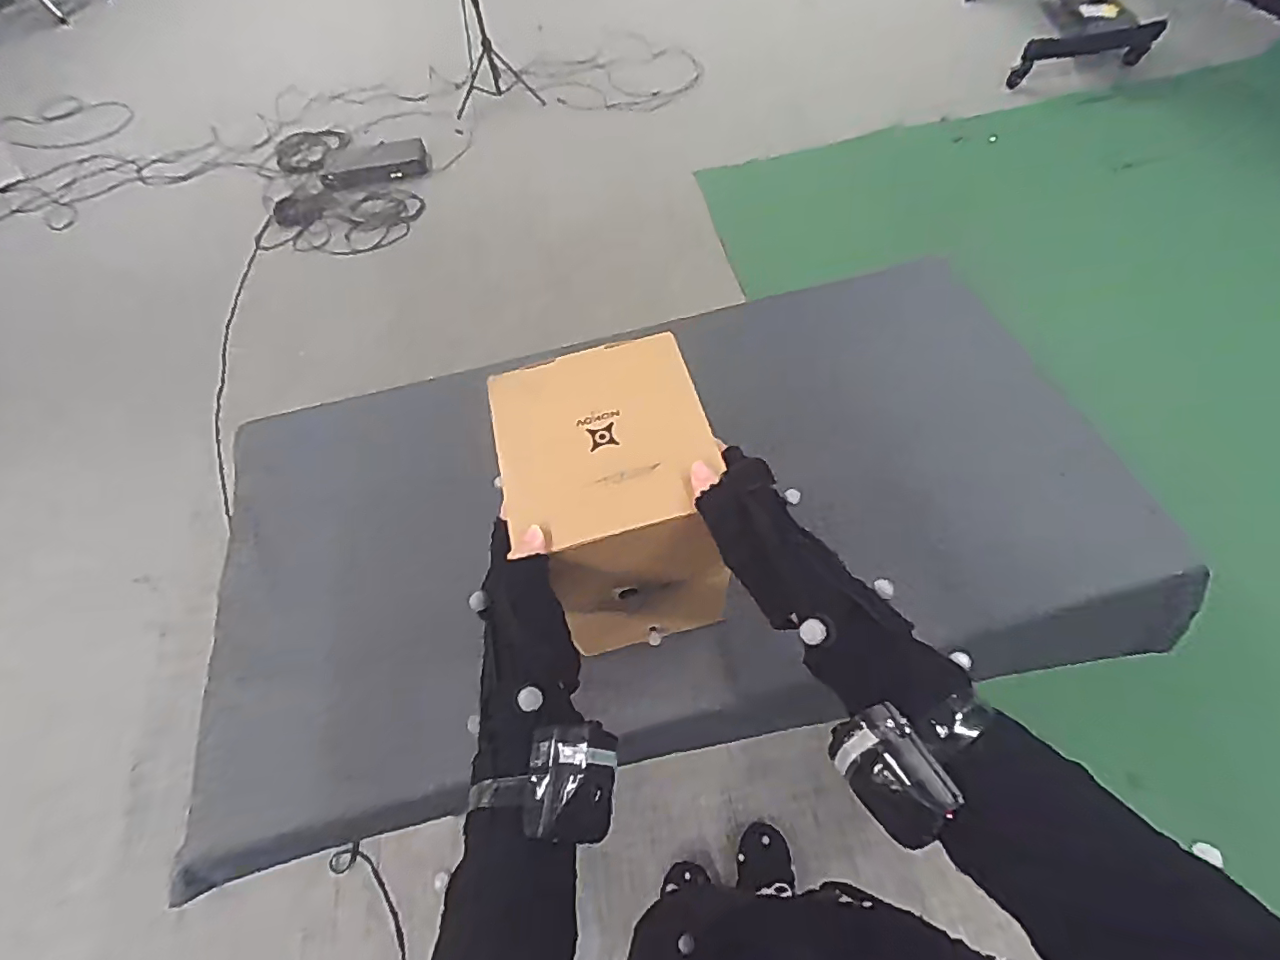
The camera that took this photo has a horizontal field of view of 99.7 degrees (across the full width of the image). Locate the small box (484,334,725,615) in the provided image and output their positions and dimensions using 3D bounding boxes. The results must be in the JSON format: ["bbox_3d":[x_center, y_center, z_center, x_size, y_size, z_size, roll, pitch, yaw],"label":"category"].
[{"bbox_3d":[-0.030,0.002,0.493,0.168,0.176,0.179,-14,61,-2],"label":"small box"}]

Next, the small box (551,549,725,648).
[{"bbox_3d":[-0.013,0.082,0.634,0.179,0.176,0.168,-14,59,-3],"label":"small box"}]
